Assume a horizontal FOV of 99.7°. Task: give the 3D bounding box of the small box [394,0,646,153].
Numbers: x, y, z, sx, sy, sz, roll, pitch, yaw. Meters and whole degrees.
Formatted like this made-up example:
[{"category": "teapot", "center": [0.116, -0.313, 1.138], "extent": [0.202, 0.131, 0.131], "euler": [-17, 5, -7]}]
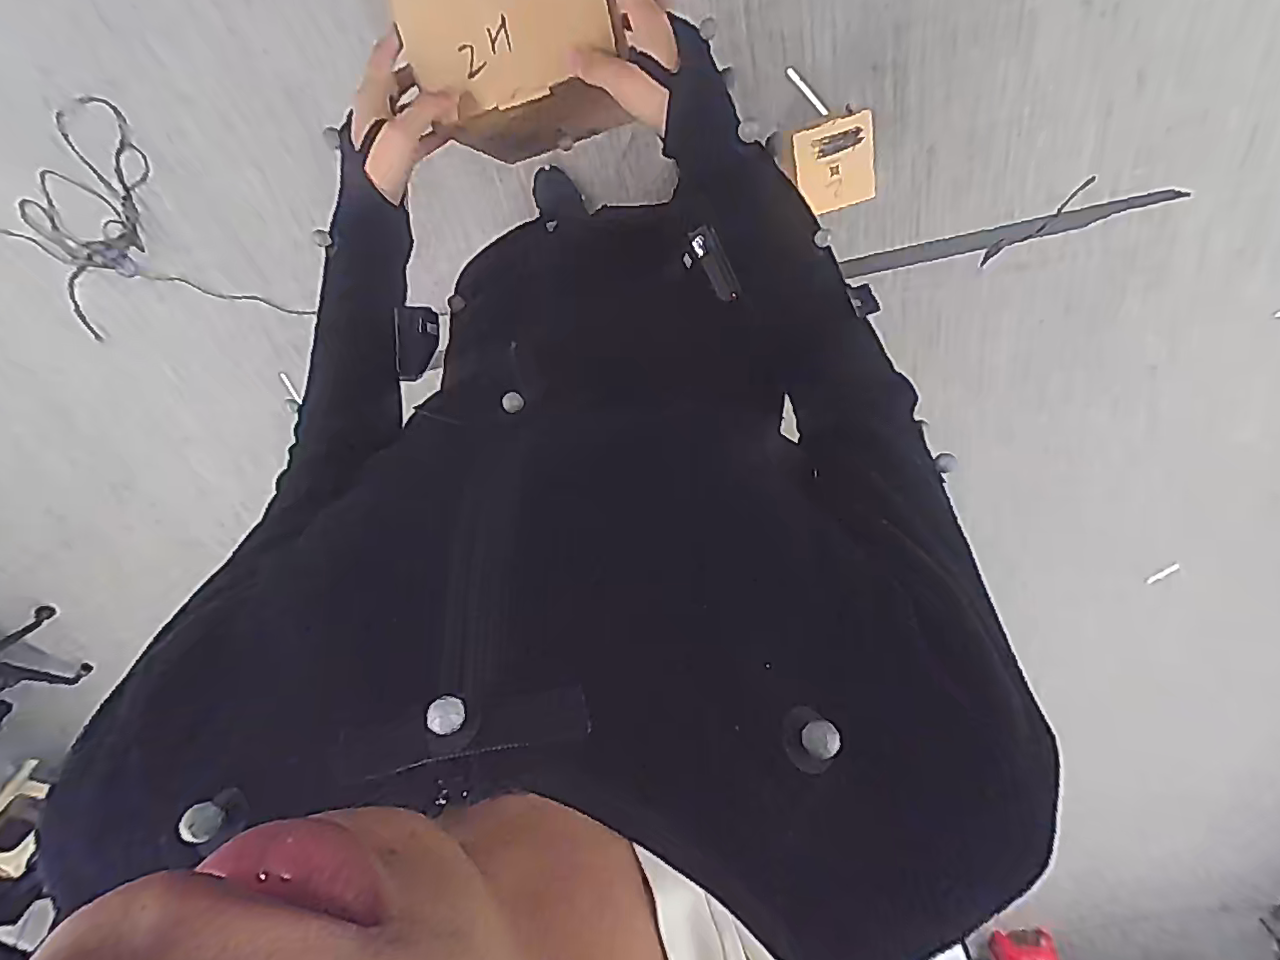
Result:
[{"category": "small box", "center": [-0.100, -0.414, 0.469], "extent": [0.168, 0.176, 0.179], "euler": [-10, 111, 13]}]
